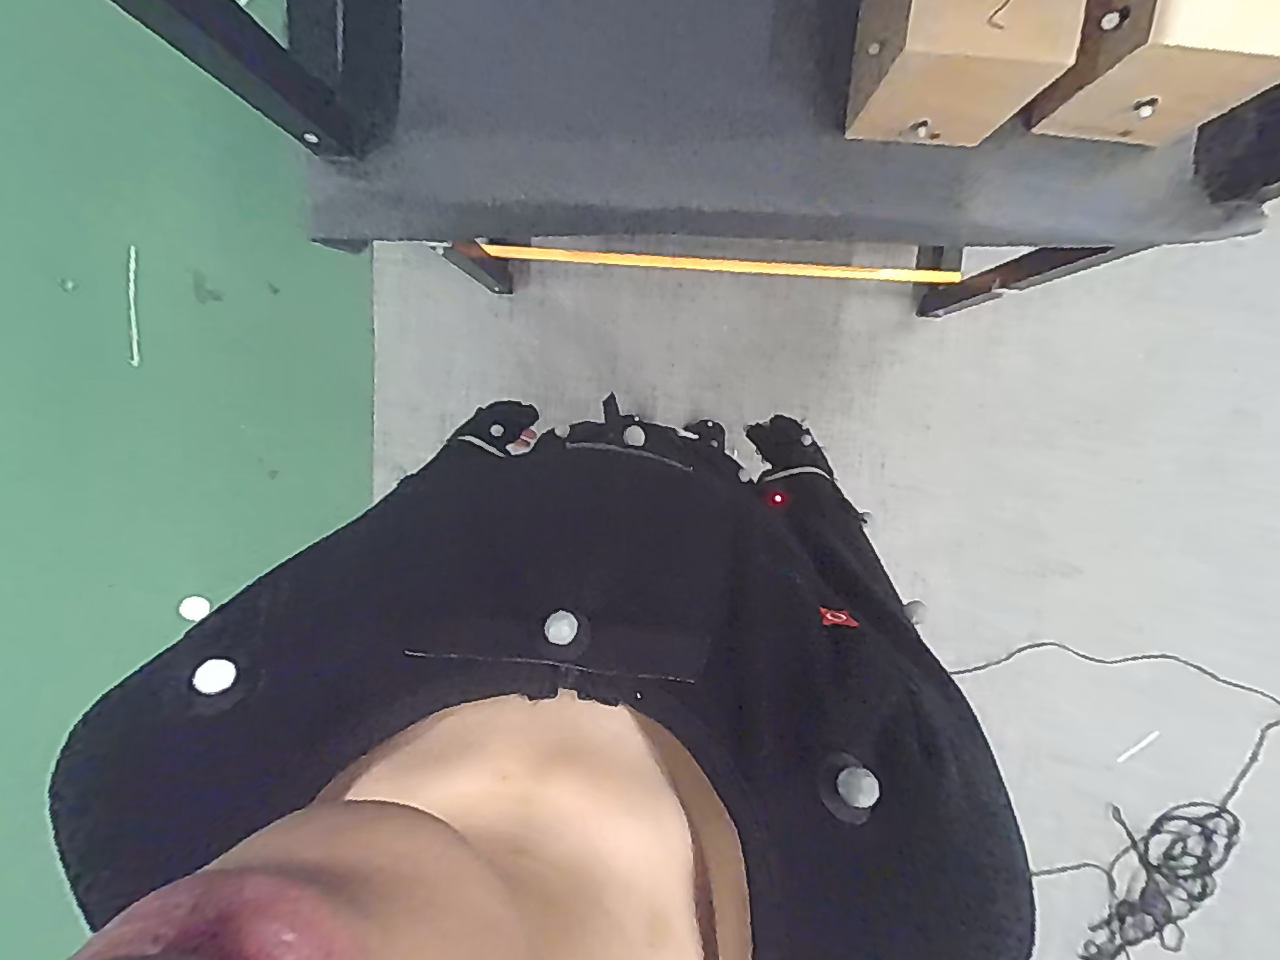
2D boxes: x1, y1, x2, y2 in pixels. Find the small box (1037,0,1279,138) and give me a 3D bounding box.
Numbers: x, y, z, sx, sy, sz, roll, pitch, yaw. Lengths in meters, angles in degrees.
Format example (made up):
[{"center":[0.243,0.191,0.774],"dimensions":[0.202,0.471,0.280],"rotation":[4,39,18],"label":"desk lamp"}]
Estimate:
[{"center":[0.574,-0.503,0.582],"dimensions":[0.168,0.176,0.179],"rotation":[7,97,1],"label":"small box"}]
